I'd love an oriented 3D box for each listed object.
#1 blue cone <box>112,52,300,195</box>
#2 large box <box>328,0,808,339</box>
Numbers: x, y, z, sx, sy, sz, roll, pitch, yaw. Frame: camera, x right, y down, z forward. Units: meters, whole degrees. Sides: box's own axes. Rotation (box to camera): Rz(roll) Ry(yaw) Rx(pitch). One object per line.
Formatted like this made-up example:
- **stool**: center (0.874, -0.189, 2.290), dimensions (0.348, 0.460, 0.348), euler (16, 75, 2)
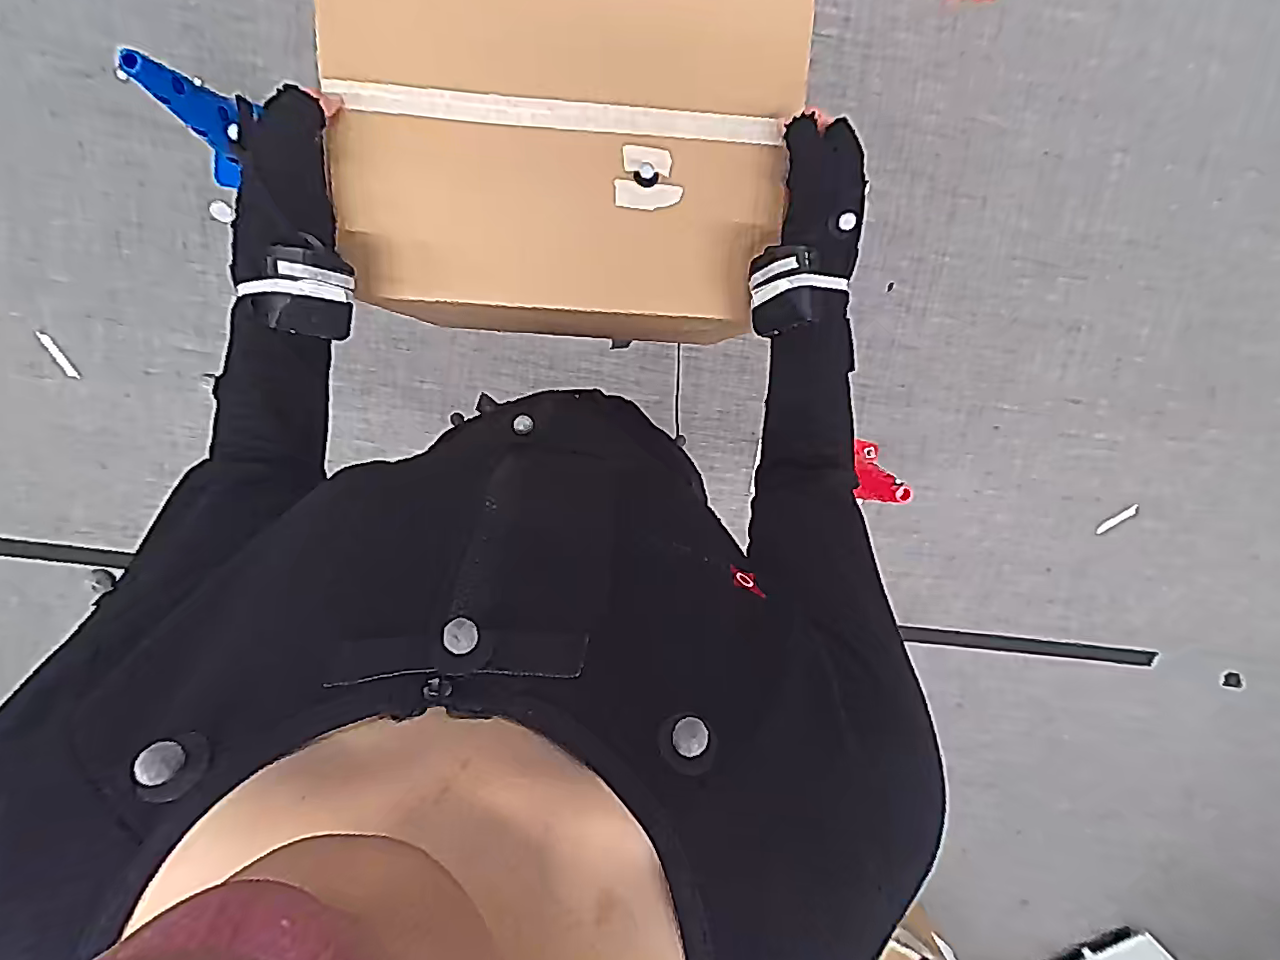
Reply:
- **blue cone**: center (-0.916, -0.770, 1.144), dimensions (0.192, 0.380, 0.193), euler (11, 99, -3)
- **large box**: center (-0.071, -0.337, 0.611), dimensions (0.408, 0.320, 0.320), euler (2, 100, -5)
